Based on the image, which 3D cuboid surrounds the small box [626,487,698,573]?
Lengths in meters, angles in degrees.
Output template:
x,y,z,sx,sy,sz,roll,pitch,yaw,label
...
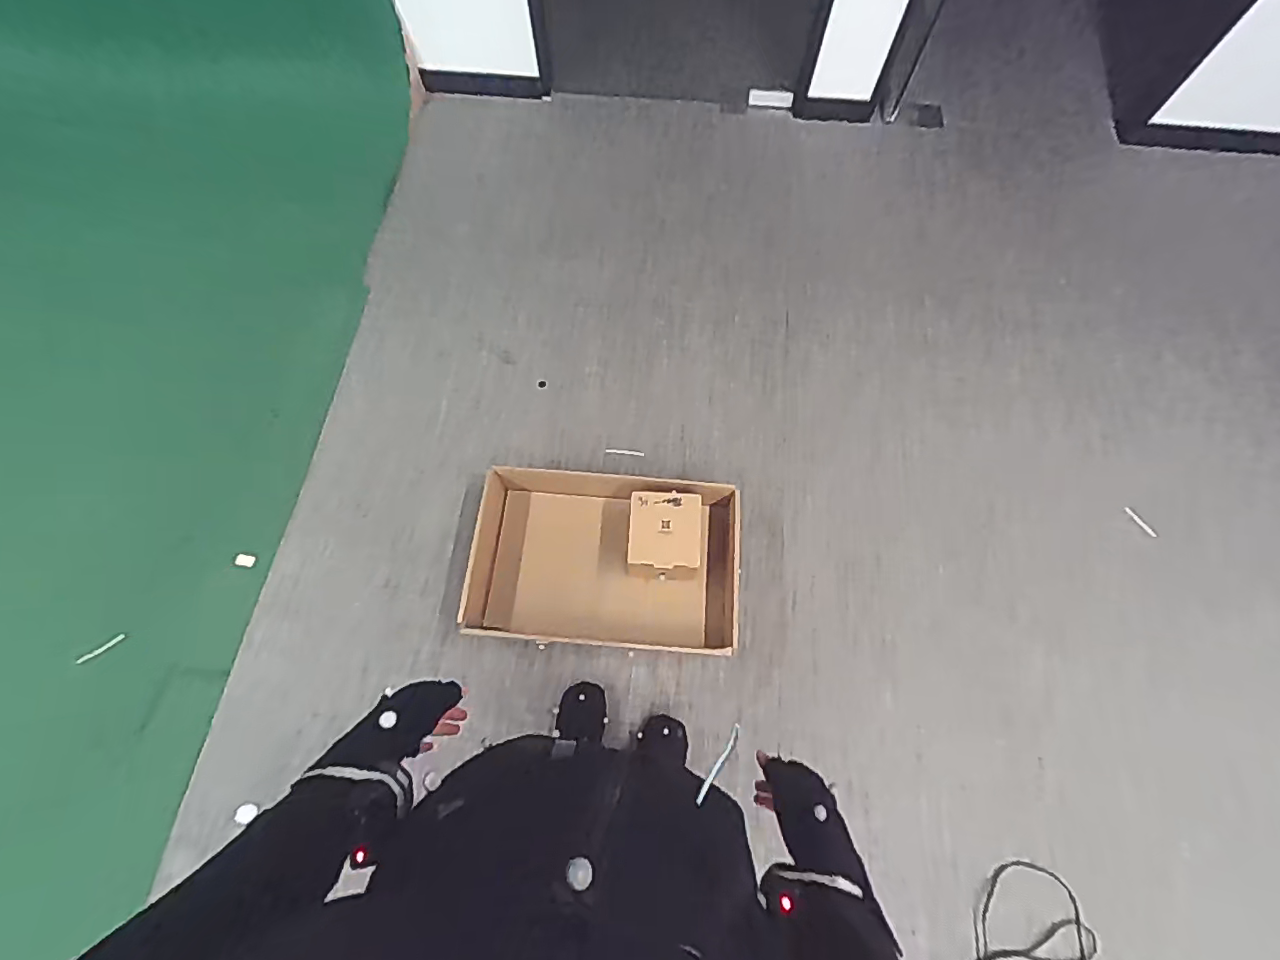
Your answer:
x,y,z,sx,sy,sz,roll,pitch,yaw,label
0.055,0.126,1.308,0.168,0.176,0.179,0,69,2,small box
